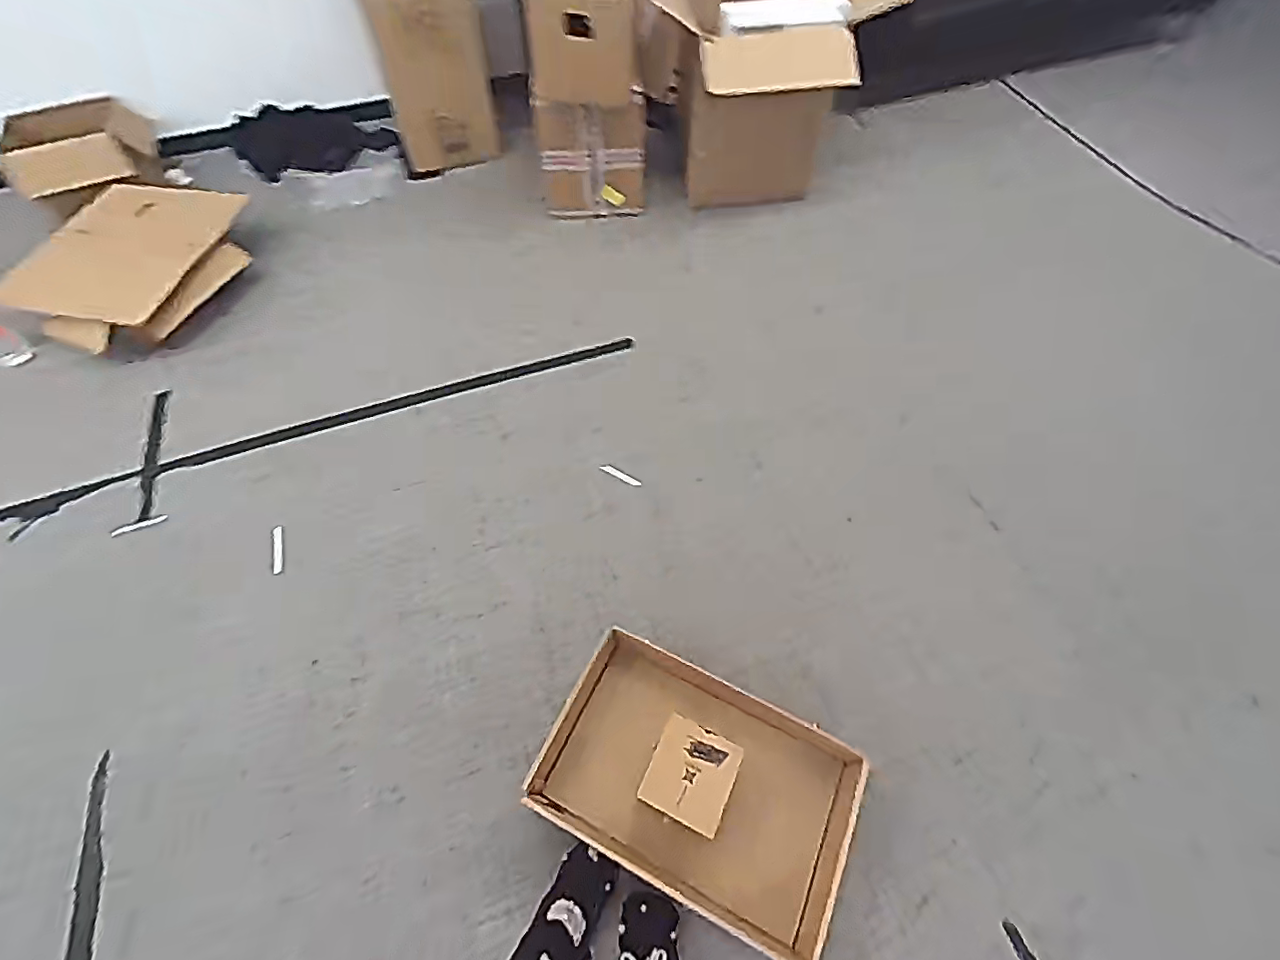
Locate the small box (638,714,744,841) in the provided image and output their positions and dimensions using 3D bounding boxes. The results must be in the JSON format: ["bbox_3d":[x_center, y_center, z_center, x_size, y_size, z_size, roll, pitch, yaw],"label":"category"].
[{"bbox_3d":[0.104,0.630,1.153,0.168,0.176,0.179,23,63,14],"label":"small box"}]
